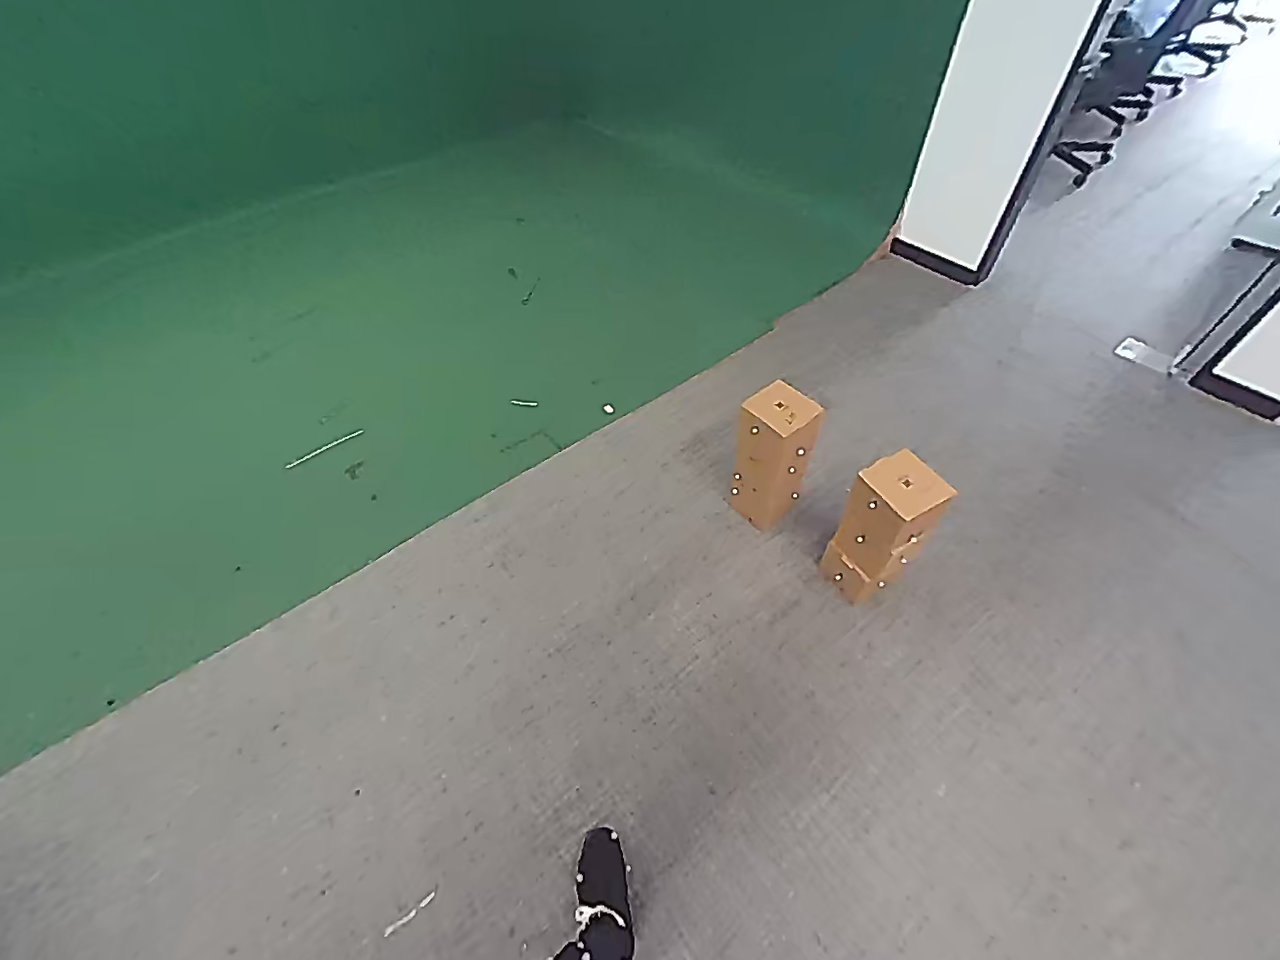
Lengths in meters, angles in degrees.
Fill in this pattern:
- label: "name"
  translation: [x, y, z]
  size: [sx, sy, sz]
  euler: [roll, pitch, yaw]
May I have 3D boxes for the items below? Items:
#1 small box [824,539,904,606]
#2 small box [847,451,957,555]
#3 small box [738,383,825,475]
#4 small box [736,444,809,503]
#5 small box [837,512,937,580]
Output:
- label: "small box"
  translation: [0.692, 0.259, 1.669]
  size: [0.179, 0.176, 0.168]
  euler: [-27, 55, -14]
- label: "small box"
  translation: [0.671, 0.062, 1.411]
  size: [0.168, 0.176, 0.179]
  euler: [-24, 54, -13]
- label: "small box"
  translation: [0.408, -0.149, 1.594]
  size: [0.168, 0.176, 0.179]
  euler: [-34, 57, -20]
- label: "small box"
  translation: [0.424, -0.057, 1.731]
  size: [0.179, 0.176, 0.168]
  euler: [-34, 57, -22]
- label: "small box"
  translation: [0.693, 0.161, 1.539]
  size: [0.168, 0.176, 0.179]
  euler: [-27, 54, -16]
